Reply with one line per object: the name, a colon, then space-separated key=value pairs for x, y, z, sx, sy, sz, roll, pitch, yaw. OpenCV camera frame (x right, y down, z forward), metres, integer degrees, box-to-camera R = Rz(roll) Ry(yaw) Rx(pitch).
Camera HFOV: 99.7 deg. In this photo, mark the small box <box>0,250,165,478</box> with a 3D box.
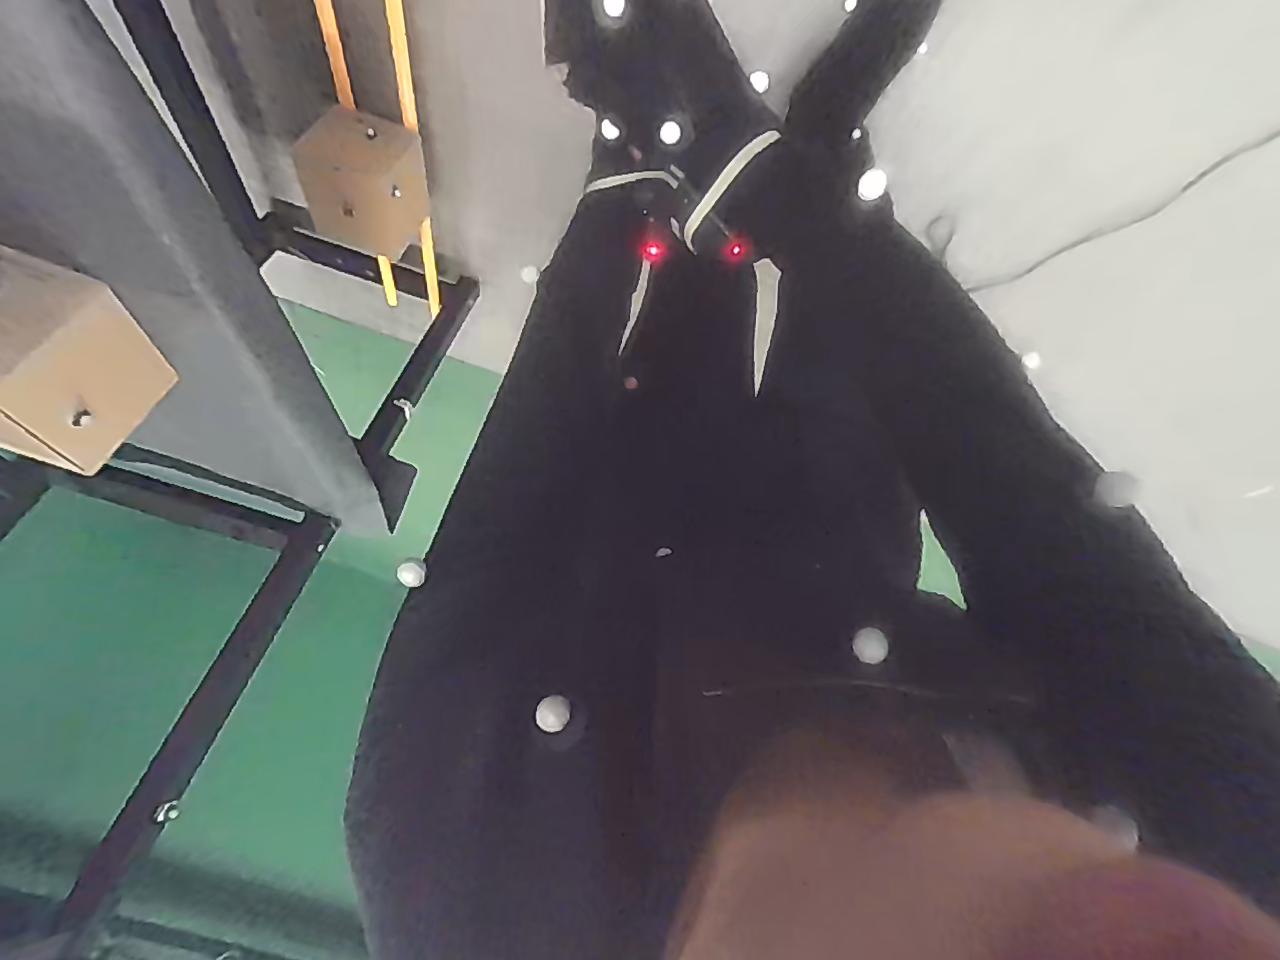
small box: x=-0.700 y=-0.133 z=0.604 sx=0.168 sy=0.176 sz=0.179 roll=19 pitch=150 yaw=-7
